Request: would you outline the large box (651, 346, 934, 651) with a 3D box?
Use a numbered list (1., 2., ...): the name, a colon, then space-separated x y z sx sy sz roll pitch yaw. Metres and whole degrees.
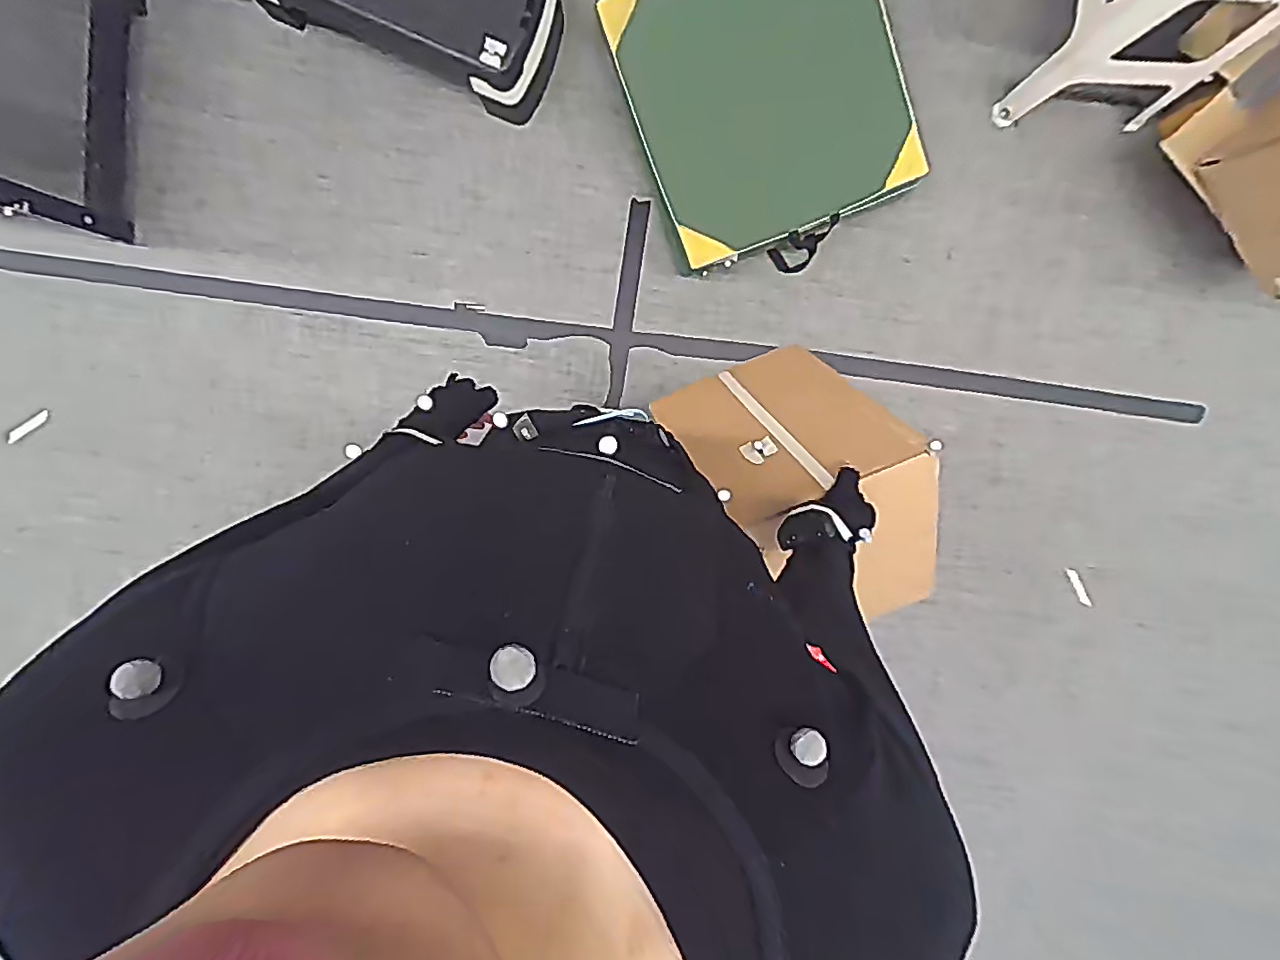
1. large box: 0.254 0.017 0.978 0.320 0.408 0.320 -24 128 0
